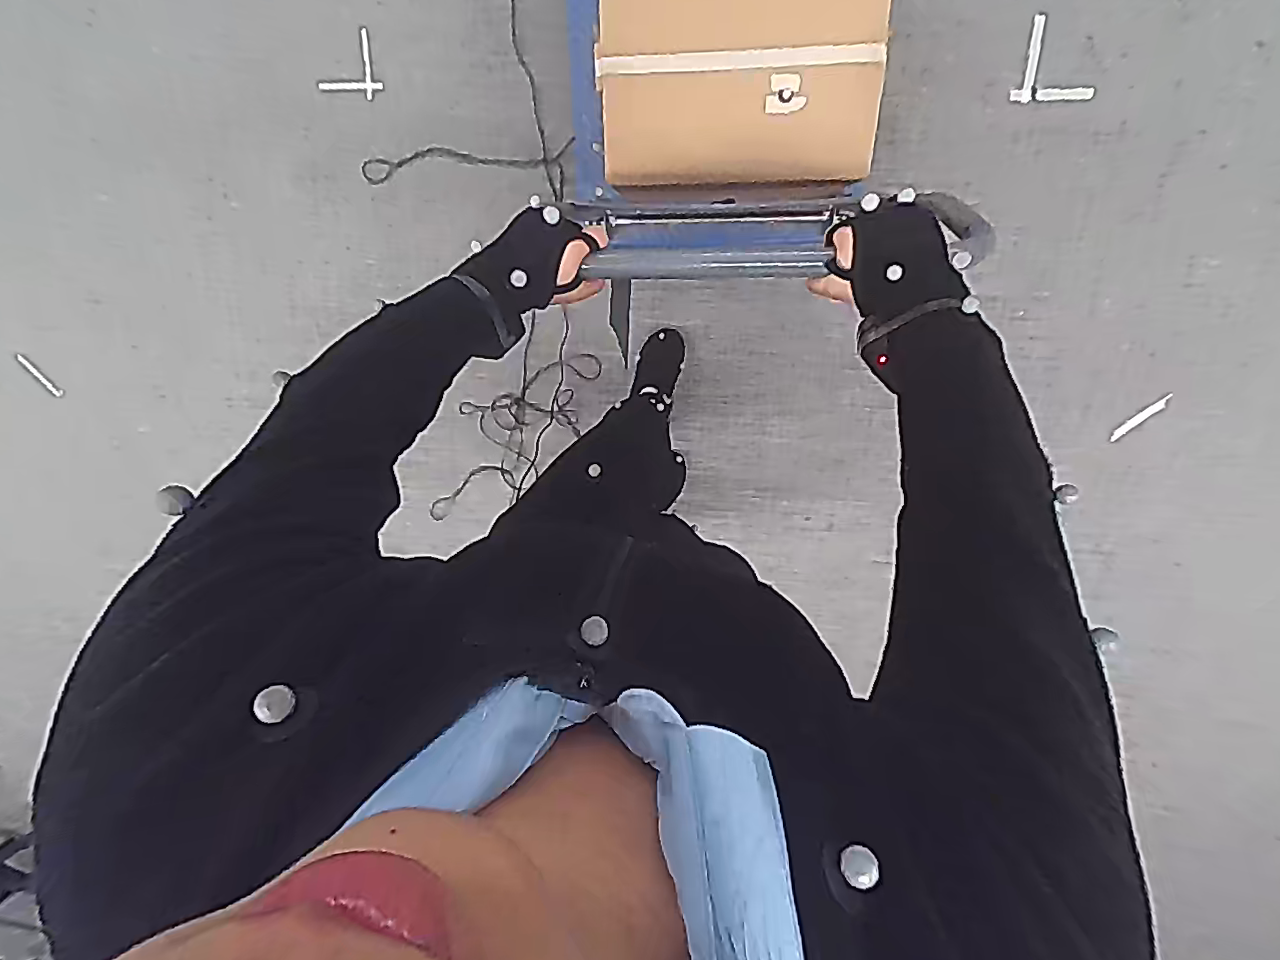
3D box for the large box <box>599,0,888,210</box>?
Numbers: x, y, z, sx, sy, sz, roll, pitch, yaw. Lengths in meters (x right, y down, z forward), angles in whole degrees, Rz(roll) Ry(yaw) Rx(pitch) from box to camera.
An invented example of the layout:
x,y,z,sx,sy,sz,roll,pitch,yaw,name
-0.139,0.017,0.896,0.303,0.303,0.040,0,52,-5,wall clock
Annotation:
x,y,z,sx,sy,sz,roll,pitch,yaw,name
0.151,-0.647,0.916,0.408,0.320,0.320,0,114,4,large box
